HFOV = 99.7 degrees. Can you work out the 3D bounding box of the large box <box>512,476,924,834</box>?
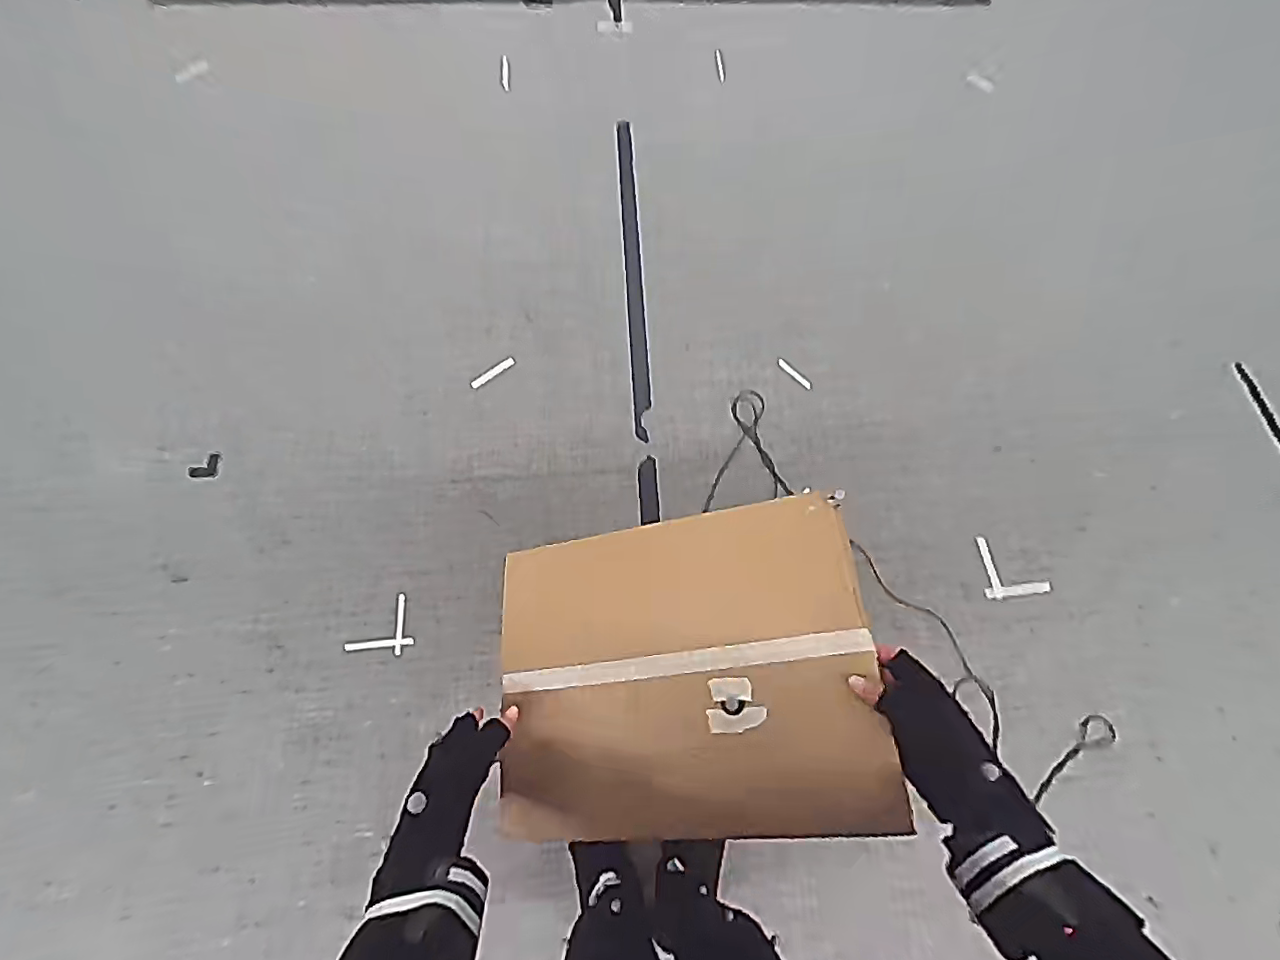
[{"bbox_3d":[0.090,0.233,0.694,0.408,0.320,0.320,-14,65,17],"label":"large box"}]
